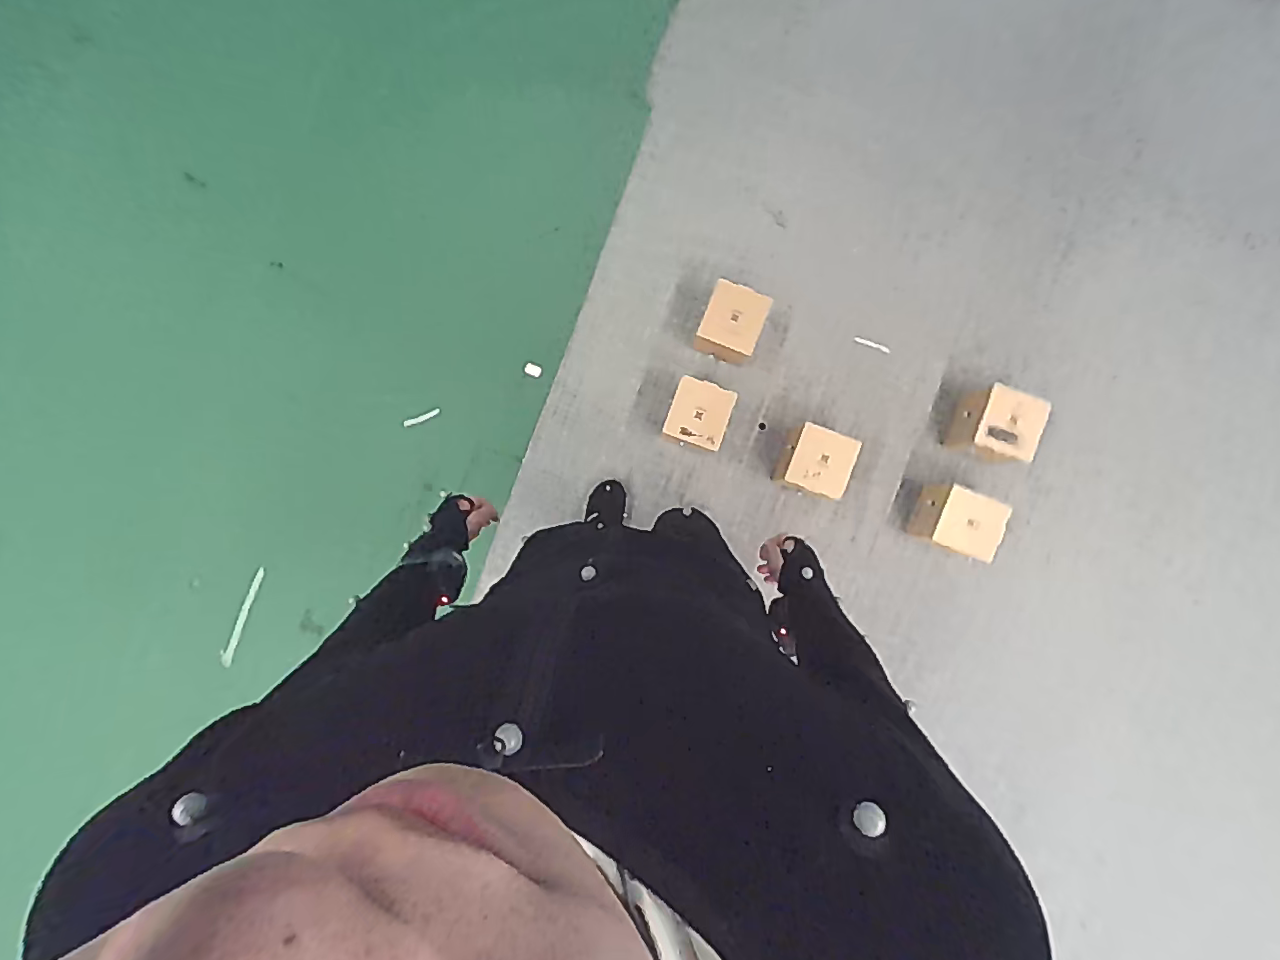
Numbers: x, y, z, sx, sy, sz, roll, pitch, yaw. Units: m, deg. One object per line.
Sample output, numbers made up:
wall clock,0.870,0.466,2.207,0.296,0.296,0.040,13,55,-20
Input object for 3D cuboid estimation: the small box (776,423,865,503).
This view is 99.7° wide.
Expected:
small box,0.505,-0.044,1.539,0.168,0.176,0.179,22,89,2

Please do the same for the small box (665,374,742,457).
small box,0.173,-0.178,1.550,0.168,0.176,0.179,21,88,2

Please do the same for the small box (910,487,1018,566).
small box,0.904,0.128,1.527,0.179,0.176,0.168,23,90,1
